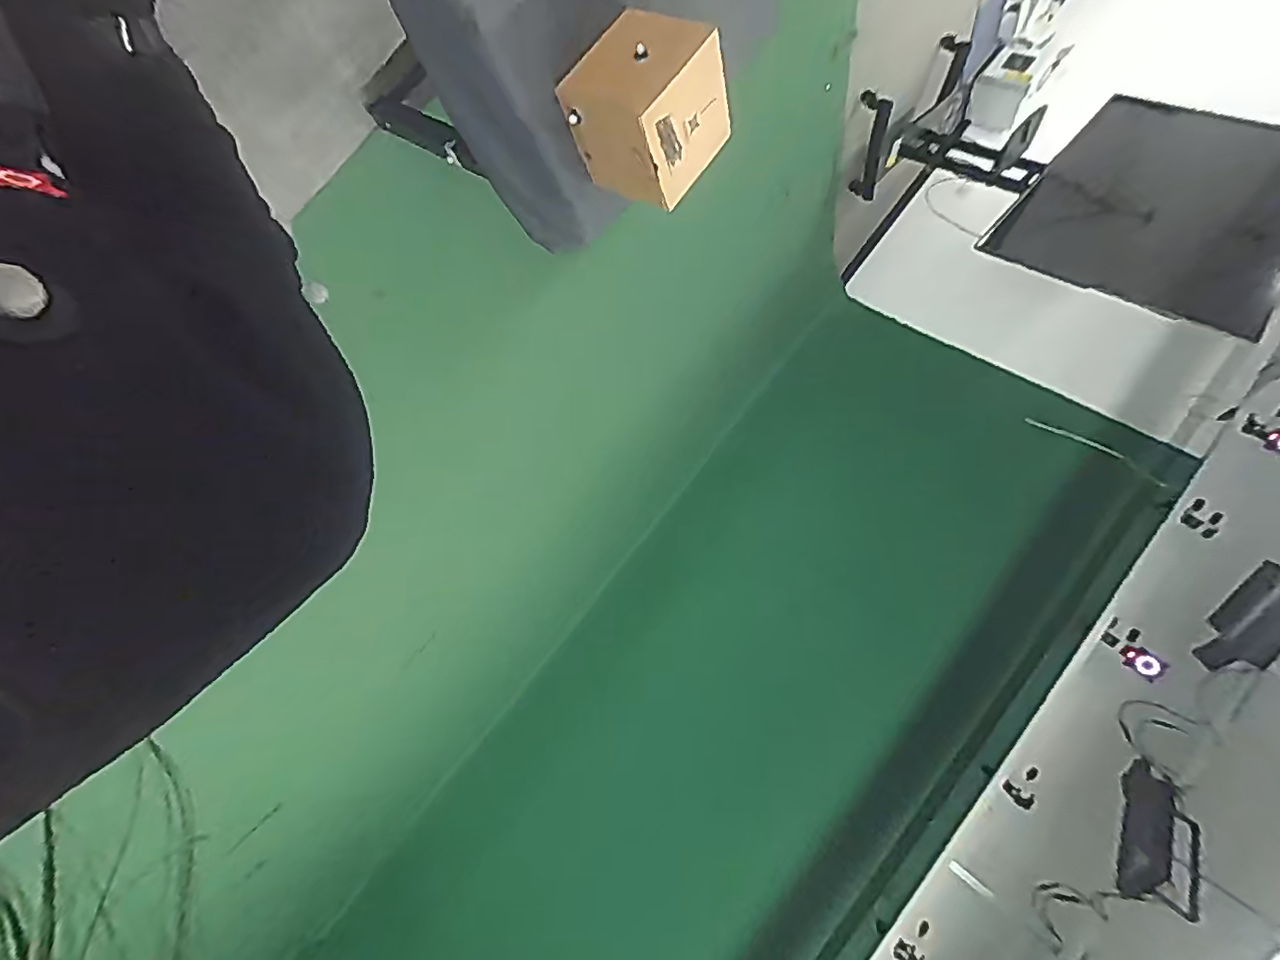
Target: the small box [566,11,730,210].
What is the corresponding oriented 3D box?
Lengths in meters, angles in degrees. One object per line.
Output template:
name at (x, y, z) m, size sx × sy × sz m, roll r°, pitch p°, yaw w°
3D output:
small box at (0.010, -0.558, 0.821) m, size 0.179 × 0.176 × 0.168 m, roll -53°, pitch 156°, yaw -6°
